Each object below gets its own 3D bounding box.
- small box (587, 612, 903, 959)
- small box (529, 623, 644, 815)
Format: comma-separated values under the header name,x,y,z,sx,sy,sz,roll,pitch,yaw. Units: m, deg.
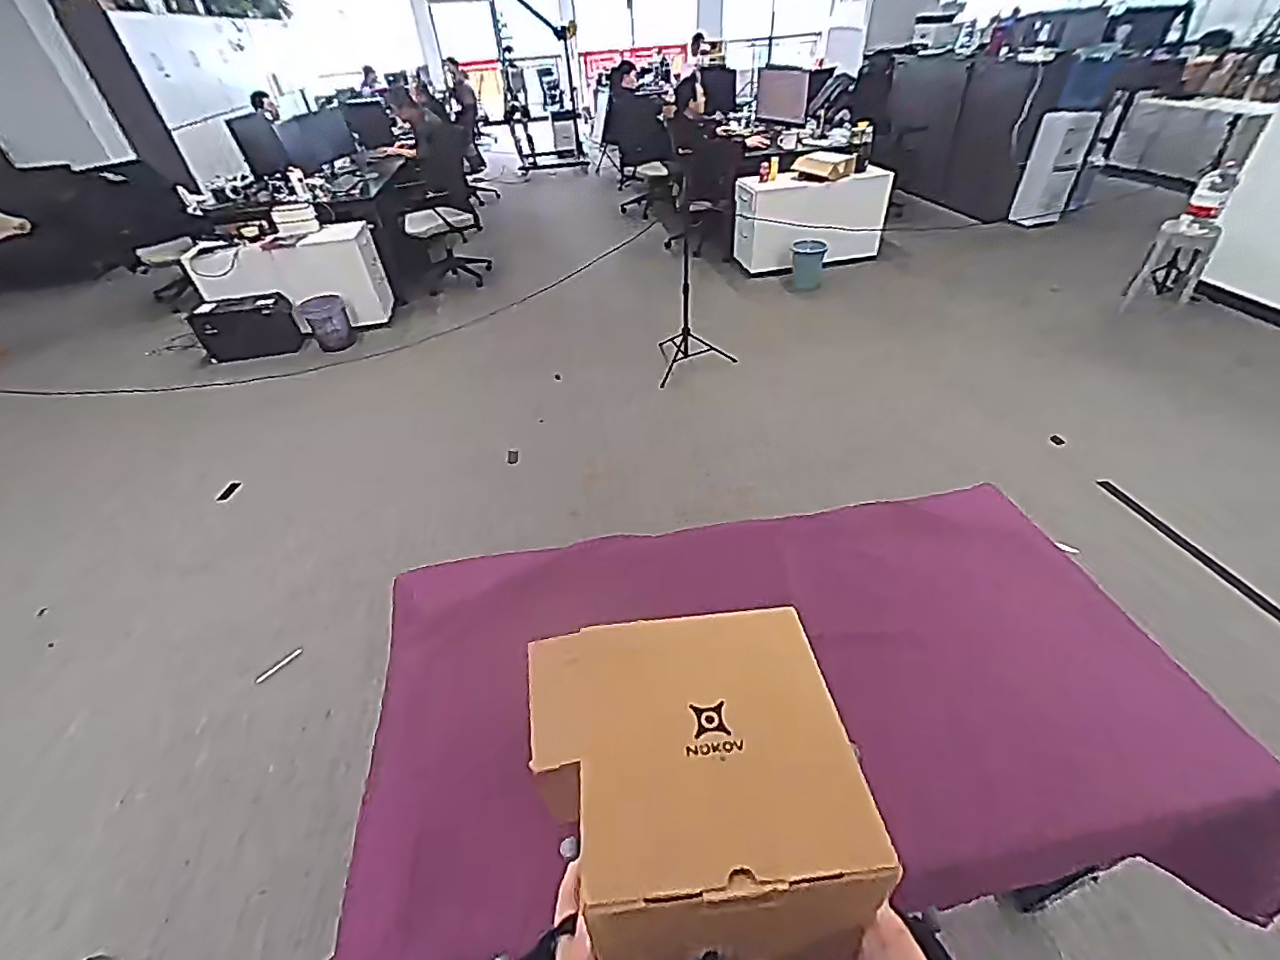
name,x,y,z,sx,sy,sz,roll,pitch,yaw
small box,0.049,0.222,0.387,0.168,0.176,0.179,-5,37,-3
small box,-0.053,0.327,0.734,0.168,0.176,0.179,-9,40,-6
